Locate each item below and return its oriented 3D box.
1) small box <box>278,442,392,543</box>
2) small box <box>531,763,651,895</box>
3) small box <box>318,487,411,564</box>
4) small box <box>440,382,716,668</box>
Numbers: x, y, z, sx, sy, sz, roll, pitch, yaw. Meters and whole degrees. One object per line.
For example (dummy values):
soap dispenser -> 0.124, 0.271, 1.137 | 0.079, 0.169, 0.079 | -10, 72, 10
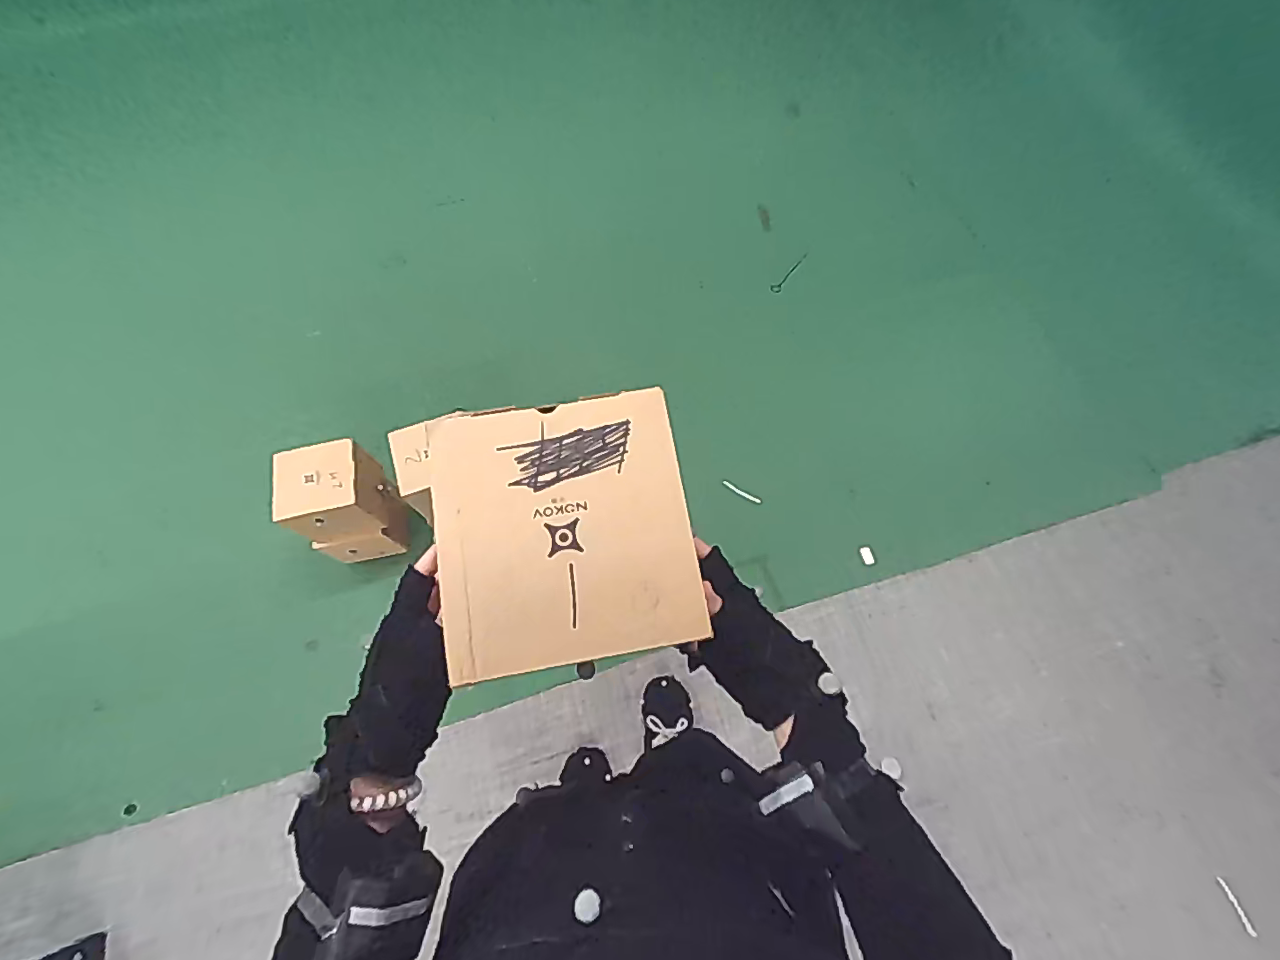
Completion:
small box -> -0.705, 0.036, 1.262 | 0.179, 0.176, 0.168 | -12, 67, -5
small box -> -0.109, 0.738, 1.164 | 0.179, 0.176, 0.168 | 31, 78, 31
small box -> -0.711, 0.112, 1.409 | 0.168, 0.176, 0.179 | -11, 67, -5
small box -> -0.049, 0.045, 0.434 | 0.168, 0.176, 0.179 | -9, 74, -5
